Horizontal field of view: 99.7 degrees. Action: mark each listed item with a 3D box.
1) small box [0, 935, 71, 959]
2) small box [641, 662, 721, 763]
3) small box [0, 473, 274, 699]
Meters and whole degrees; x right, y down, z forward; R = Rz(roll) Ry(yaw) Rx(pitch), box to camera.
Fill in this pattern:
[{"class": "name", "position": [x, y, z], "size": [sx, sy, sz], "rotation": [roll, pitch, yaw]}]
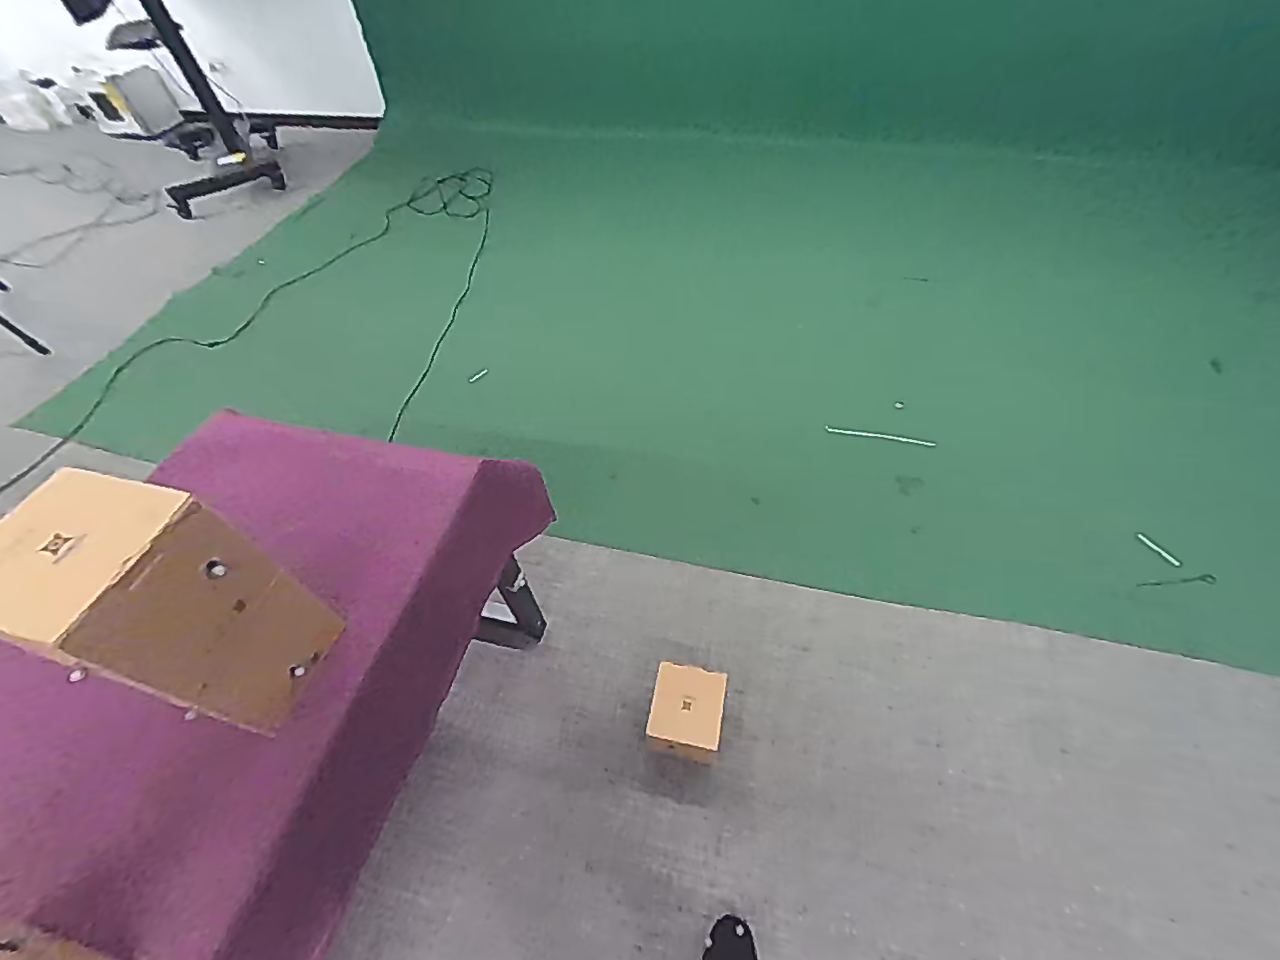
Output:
[{"class": "small box", "position": [-0.641, 0.530, 0.475], "size": [0.168, 0.176, 0.179], "rotation": [8, 52, 10]}, {"class": "small box", "position": [0.103, 0.574, 1.327], "size": [0.168, 0.176, 0.179], "rotation": [8, 53, 9]}, {"class": "small box", "position": [-0.553, 0.119, 0.582], "size": [0.179, 0.176, 0.168], "rotation": [10, 53, 11]}]
